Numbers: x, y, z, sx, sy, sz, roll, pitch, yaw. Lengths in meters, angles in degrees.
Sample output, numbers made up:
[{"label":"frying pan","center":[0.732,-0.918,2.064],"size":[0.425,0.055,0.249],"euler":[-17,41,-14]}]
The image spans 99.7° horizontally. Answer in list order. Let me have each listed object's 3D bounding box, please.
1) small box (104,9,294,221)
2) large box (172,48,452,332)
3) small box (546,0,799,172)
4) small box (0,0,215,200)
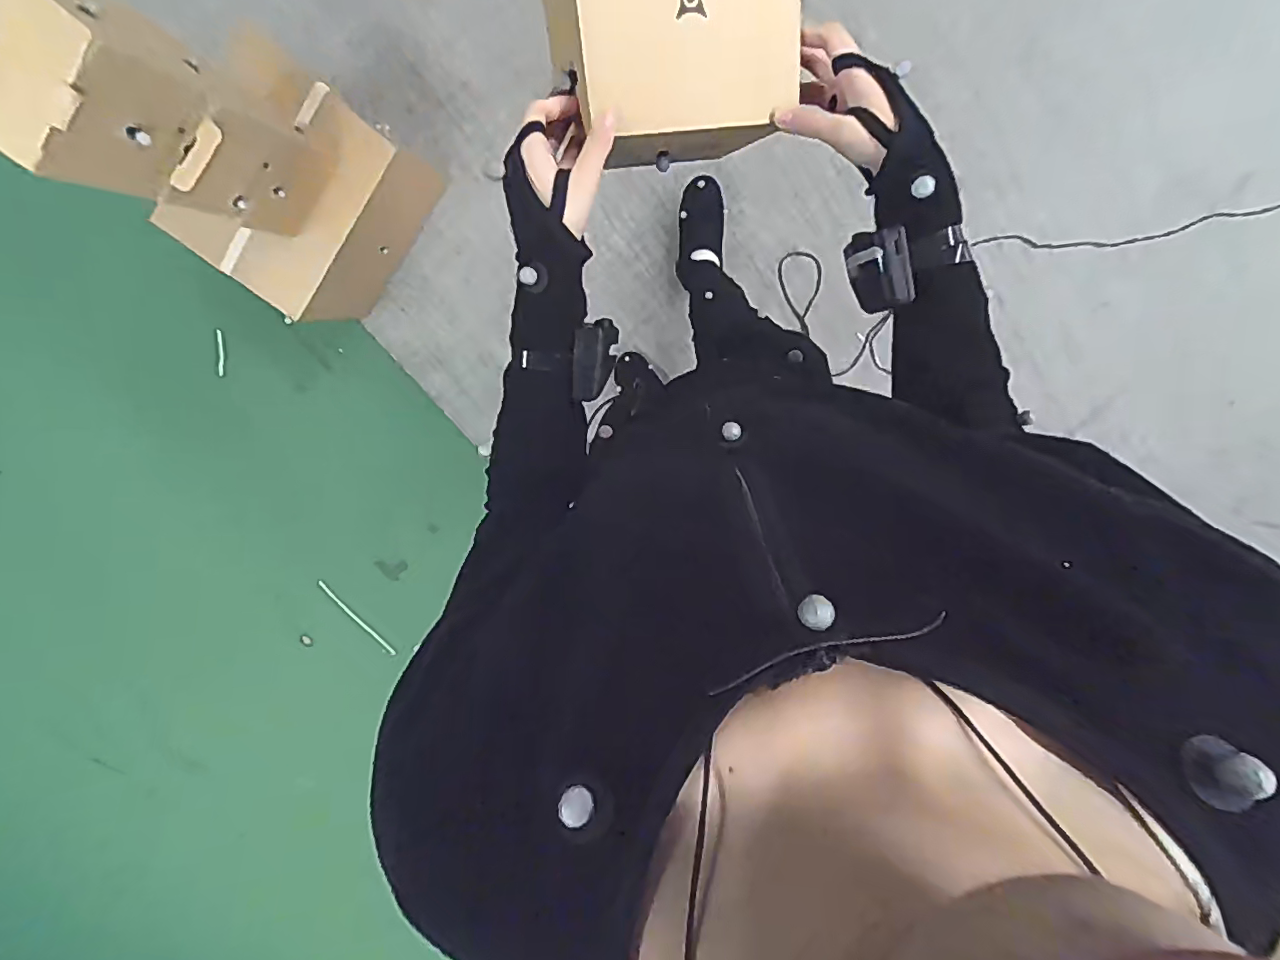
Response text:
[{"label":"small box","center":[-0.657,-0.503,0.784],"size":[0.179,0.176,0.168],"euler":[41,102,-13]},{"label":"large box","center":[-0.684,-0.587,1.185],"size":[0.320,0.320,0.408],"euler":[37,104,-10]},{"label":"small box","center":[0.017,-0.366,0.447],"size":[0.168,0.176,0.179],"euler":[-10,111,-10]},{"label":"small box","center":[-0.658,-0.455,0.627],"size":[0.179,0.176,0.168],"euler":[40,101,-14]}]
